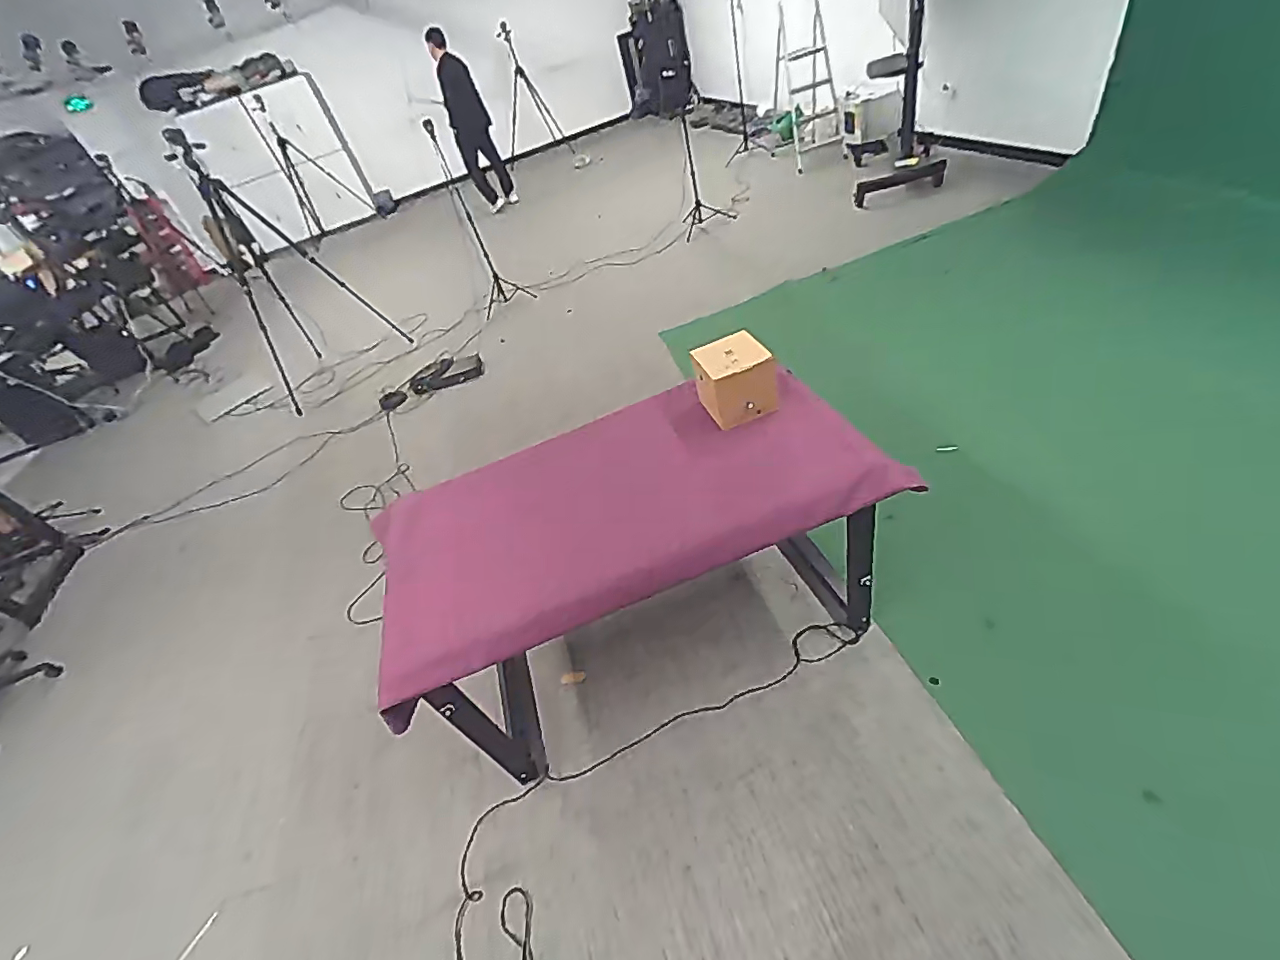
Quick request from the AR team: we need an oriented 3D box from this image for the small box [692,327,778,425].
[{"bbox_3d":[0.256,-0.277,1.451,0.168,0.176,0.179,-22,42,-2],"label":"small box"}]
